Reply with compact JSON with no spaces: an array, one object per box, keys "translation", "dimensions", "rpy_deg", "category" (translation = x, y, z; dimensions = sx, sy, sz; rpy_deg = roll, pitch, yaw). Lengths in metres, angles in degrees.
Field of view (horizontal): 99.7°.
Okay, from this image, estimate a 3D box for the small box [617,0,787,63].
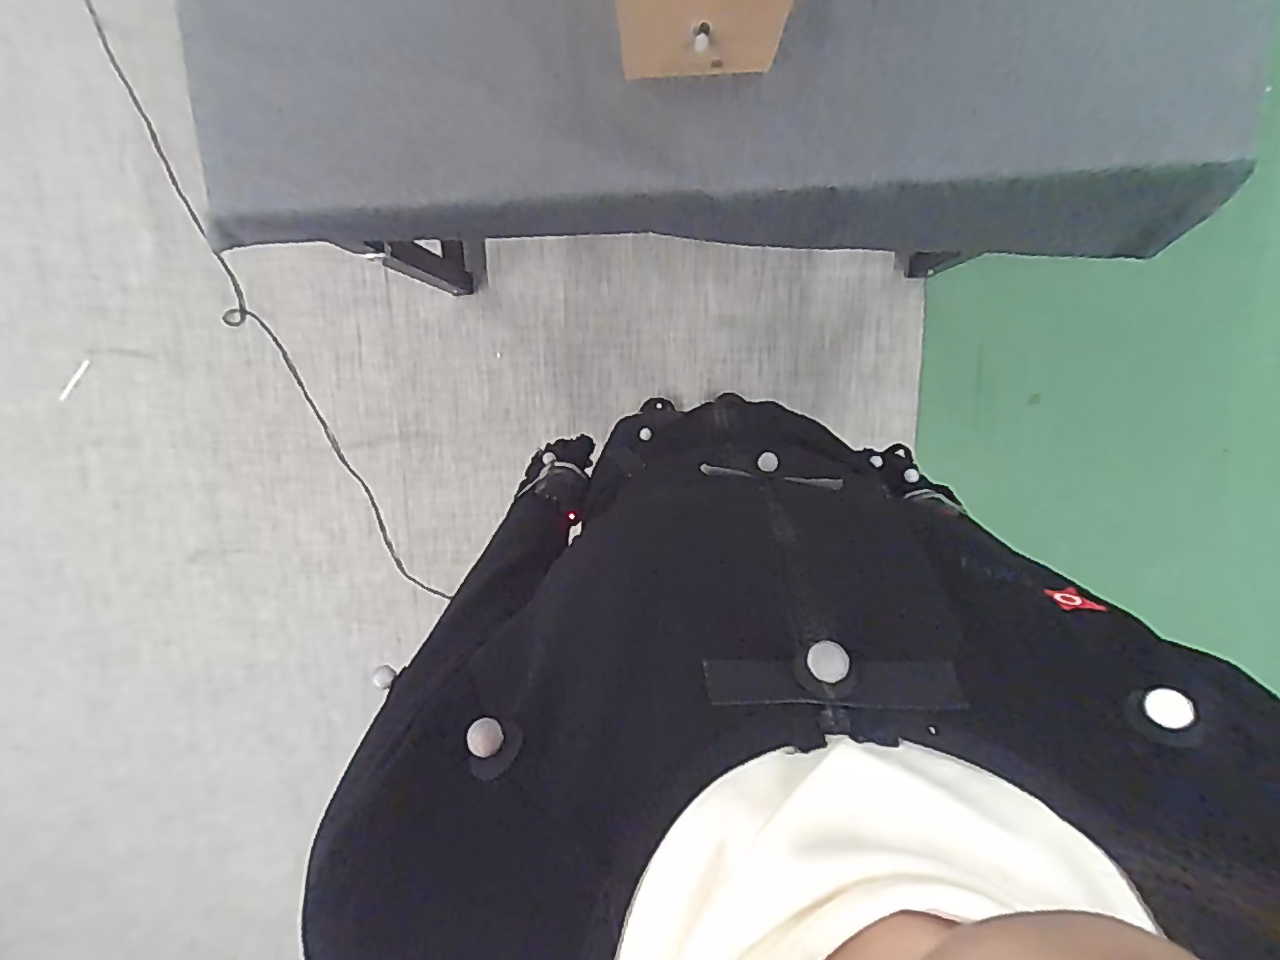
[{"translation":[0.060,-0.534,0.516],"dimensions":[0.168,0.176,0.179],"rpy_deg":[-2,101,4],"category":"small box"}]
